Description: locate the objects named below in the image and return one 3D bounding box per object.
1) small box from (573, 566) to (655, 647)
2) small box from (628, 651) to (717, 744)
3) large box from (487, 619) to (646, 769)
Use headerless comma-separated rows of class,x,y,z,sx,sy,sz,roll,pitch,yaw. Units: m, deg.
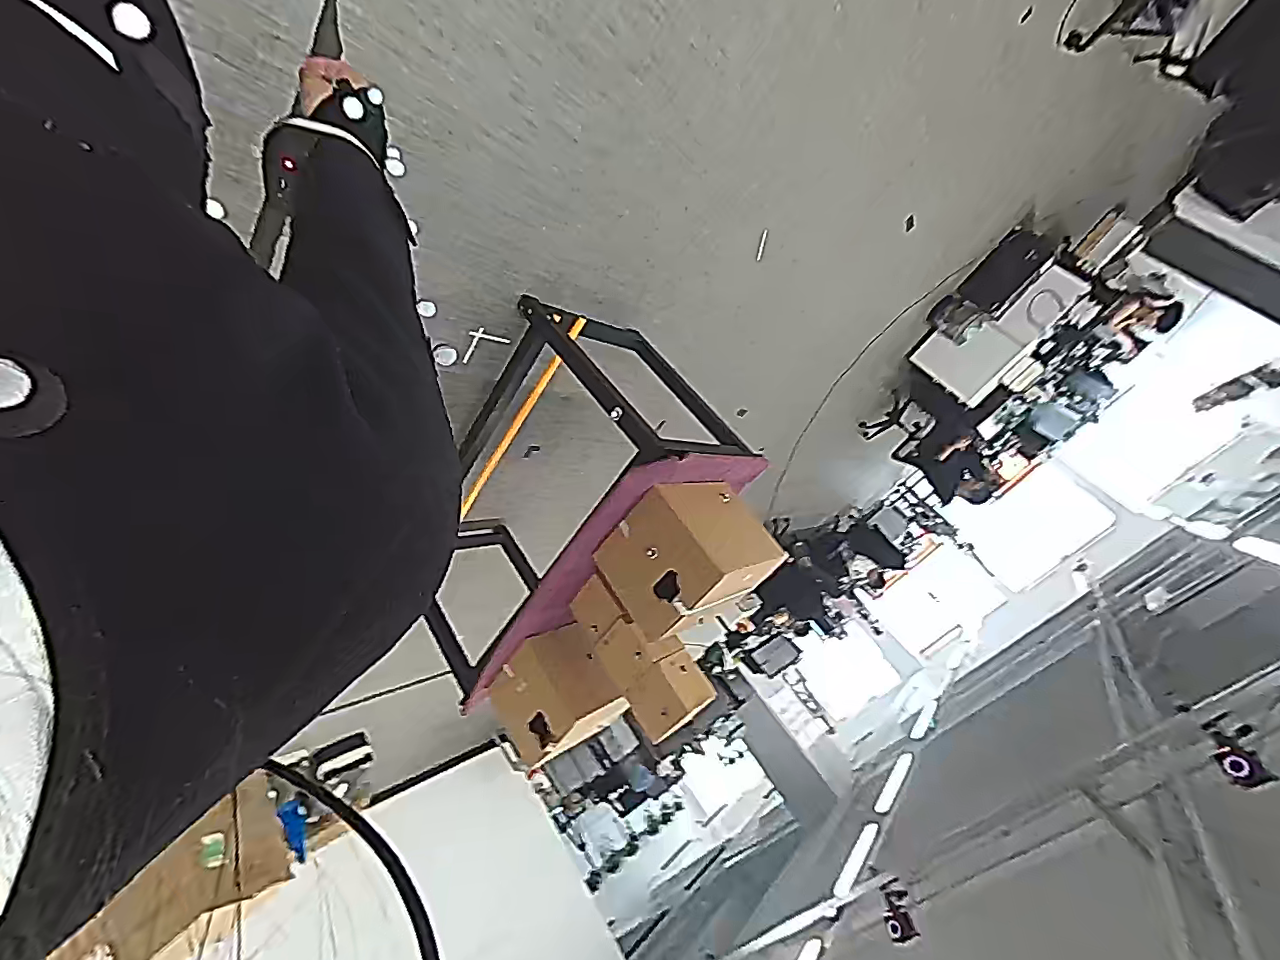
small box,-0.091,0.404,1.746,0.168,0.176,0.179,-3,137,-53
small box,0.088,0.638,1.605,0.168,0.176,0.179,1,134,-54
large box,-0.248,0.710,1.886,0.408,0.320,0.320,-2,137,-54
